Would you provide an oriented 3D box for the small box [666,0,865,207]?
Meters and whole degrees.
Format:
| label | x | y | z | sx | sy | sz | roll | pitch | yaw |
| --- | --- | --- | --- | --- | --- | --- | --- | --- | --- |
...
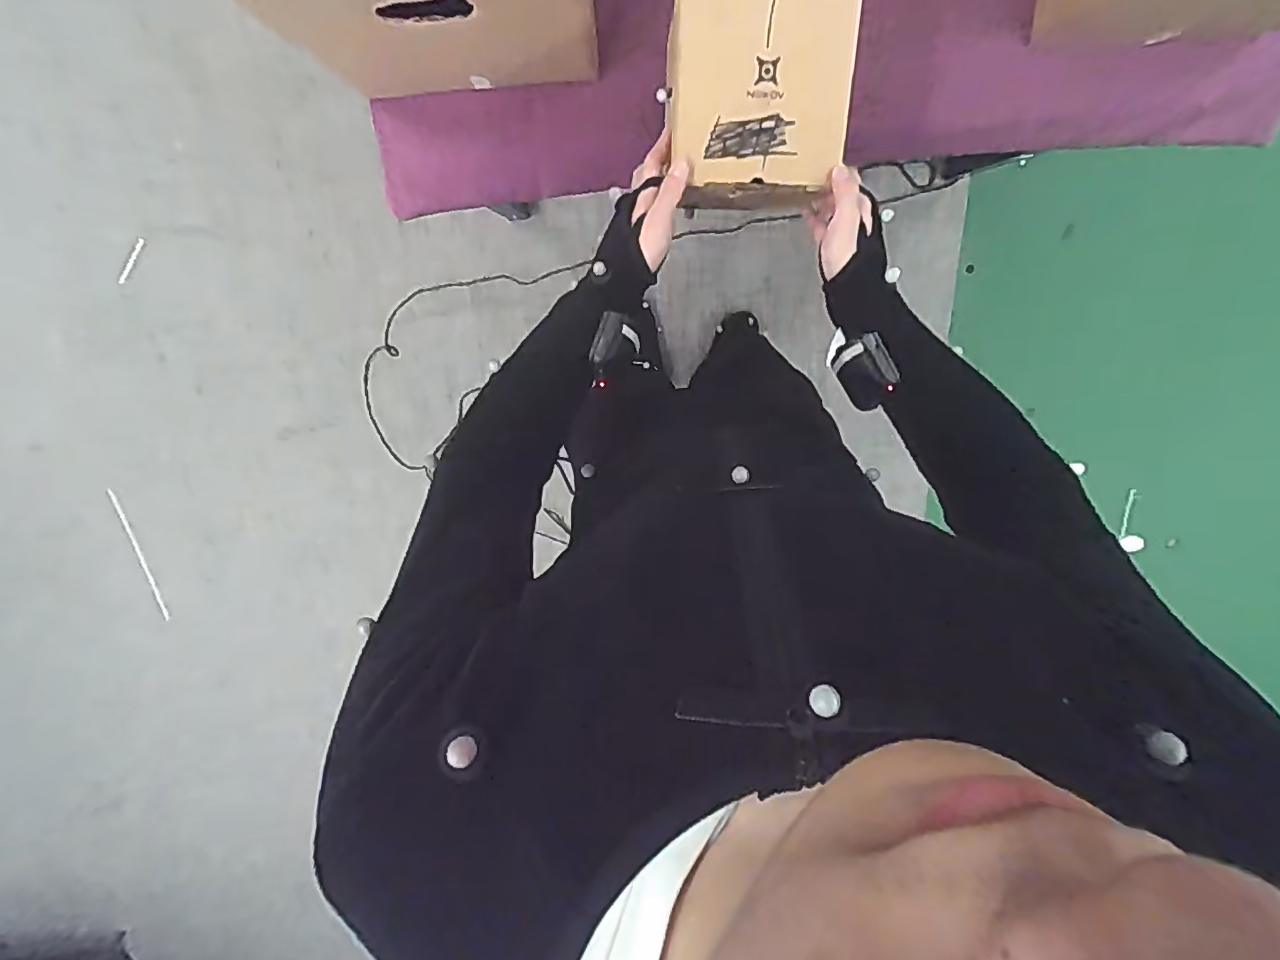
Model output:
| label | x | y | z | sx | sy | sz | roll | pitch | yaw |
| --- | --- | --- | --- | --- | --- | --- | --- | --- | --- |
| small box | 0.117 | -0.398 | 0.576 | 0.168 | 0.176 | 0.179 | 0 | 109 | -2 |
